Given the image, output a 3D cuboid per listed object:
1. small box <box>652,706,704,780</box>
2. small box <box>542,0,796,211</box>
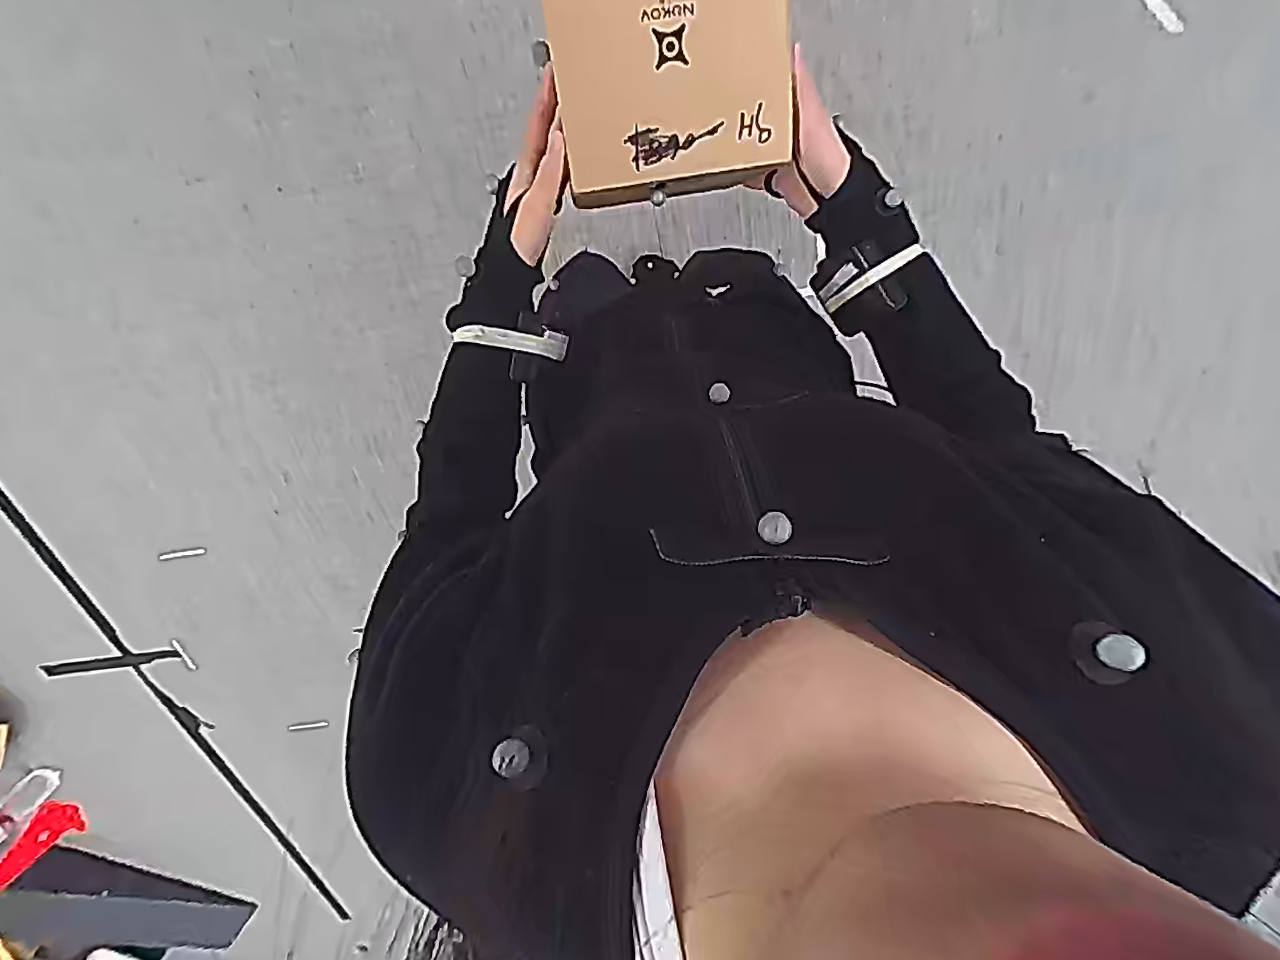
[{"bbox_3d":[0.137,0.966,1.988,0.168,0.176,0.179,-10,116,4],"label":"small box"},{"bbox_3d":[0.014,-0.328,0.433,0.168,0.176,0.179,-9,113,-2],"label":"small box"}]
